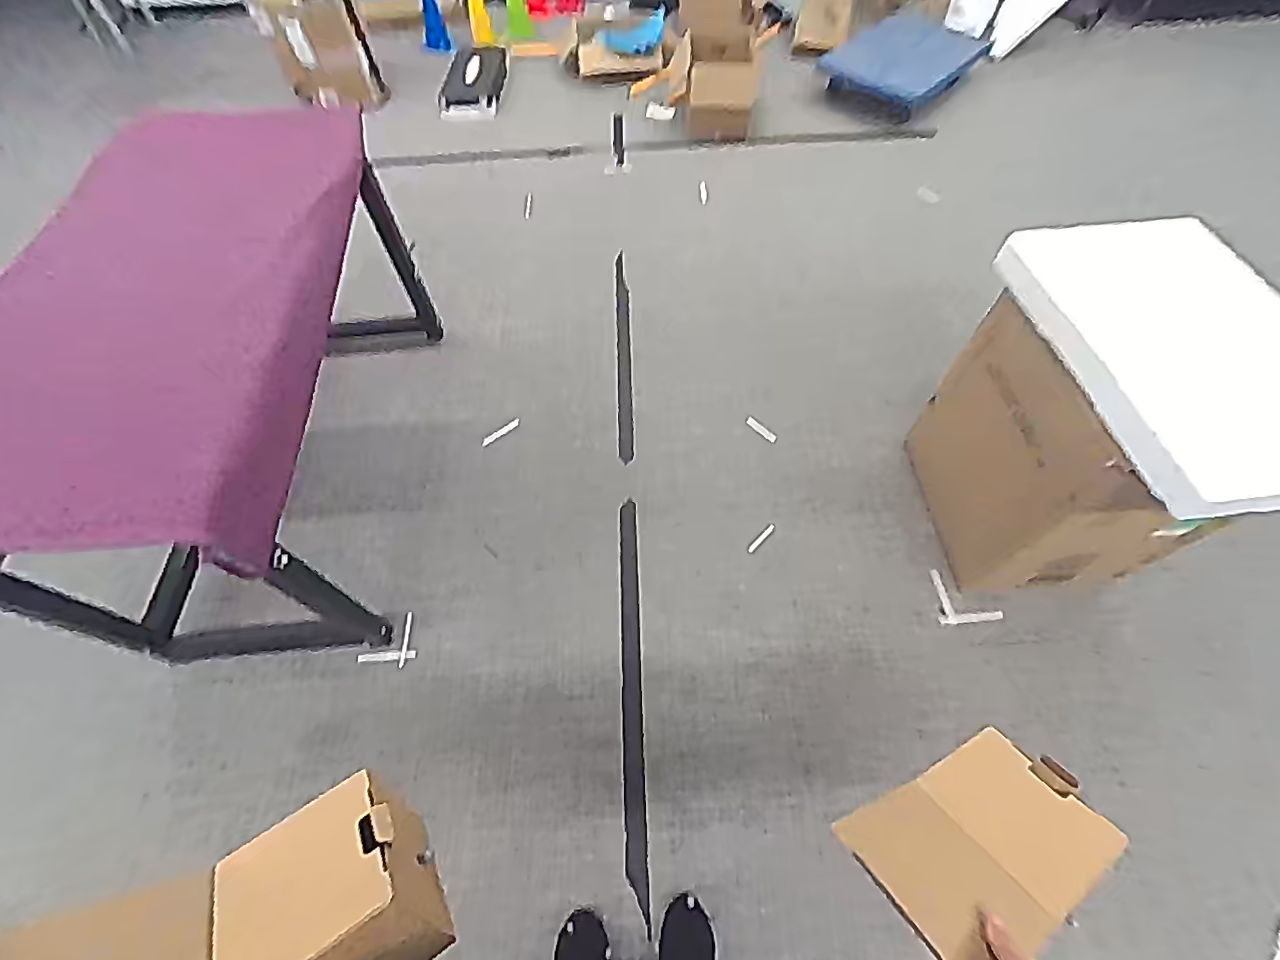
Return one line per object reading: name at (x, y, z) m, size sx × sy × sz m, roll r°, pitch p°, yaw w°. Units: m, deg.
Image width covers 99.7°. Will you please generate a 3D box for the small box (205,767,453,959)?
small box at (-0.344, 0.479, 0.612) m, size 0.179 × 0.176 × 0.168 m, roll -30°, pitch 41°, yaw -19°
